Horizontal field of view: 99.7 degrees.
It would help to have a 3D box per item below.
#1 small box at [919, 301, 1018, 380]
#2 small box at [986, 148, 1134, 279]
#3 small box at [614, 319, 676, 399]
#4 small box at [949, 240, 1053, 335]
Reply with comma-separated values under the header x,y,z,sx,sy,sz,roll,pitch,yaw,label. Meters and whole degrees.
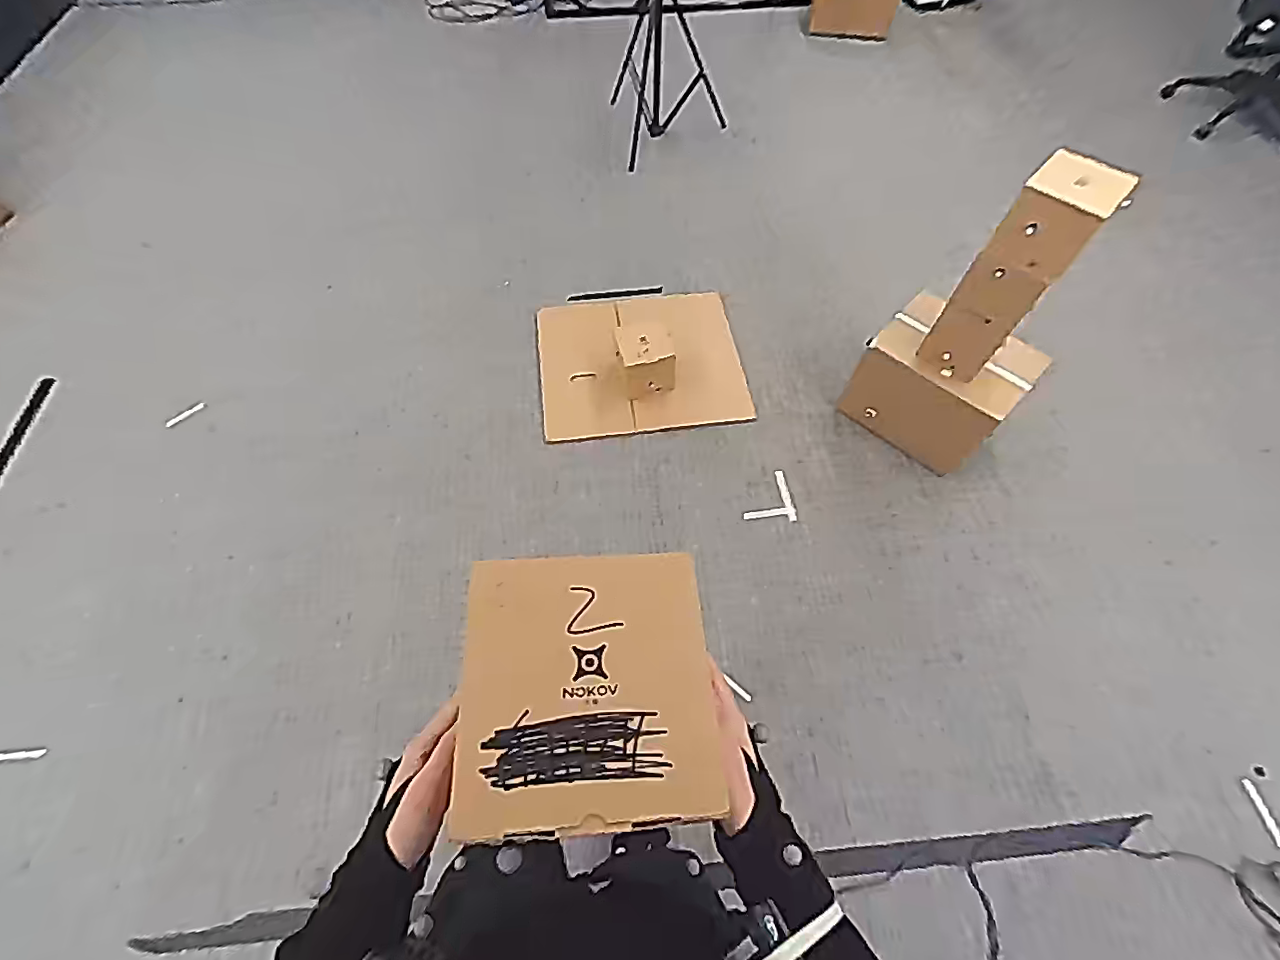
x,y,z,sx,sy,sz,roll,pitch,yaw,label
0.888,-0.407,1.450,0.168,0.176,0.179,39,68,20,small box
0.890,-0.568,1.165,0.168,0.176,0.179,38,67,20,small box
0.015,-0.397,1.792,0.168,0.176,0.179,-15,62,-5,small box
0.890,-0.491,1.308,0.168,0.176,0.179,39,67,20,small box
